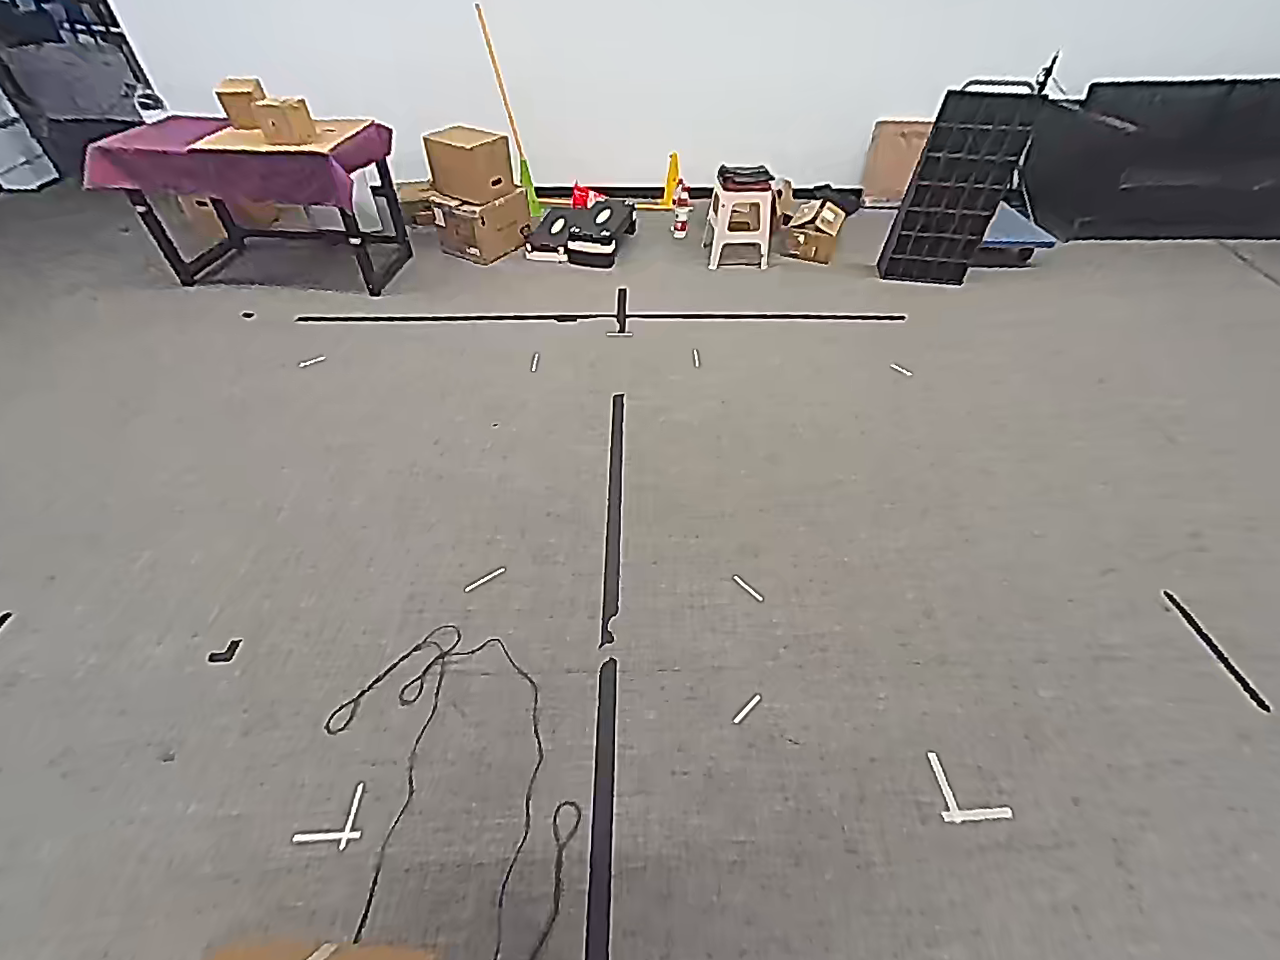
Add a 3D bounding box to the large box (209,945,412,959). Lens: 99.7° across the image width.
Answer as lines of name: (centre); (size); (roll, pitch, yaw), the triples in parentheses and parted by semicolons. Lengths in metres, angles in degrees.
large box: (-0.476, 0.795, 0.582); (0.320, 0.408, 0.320); (3, 71, 0)
